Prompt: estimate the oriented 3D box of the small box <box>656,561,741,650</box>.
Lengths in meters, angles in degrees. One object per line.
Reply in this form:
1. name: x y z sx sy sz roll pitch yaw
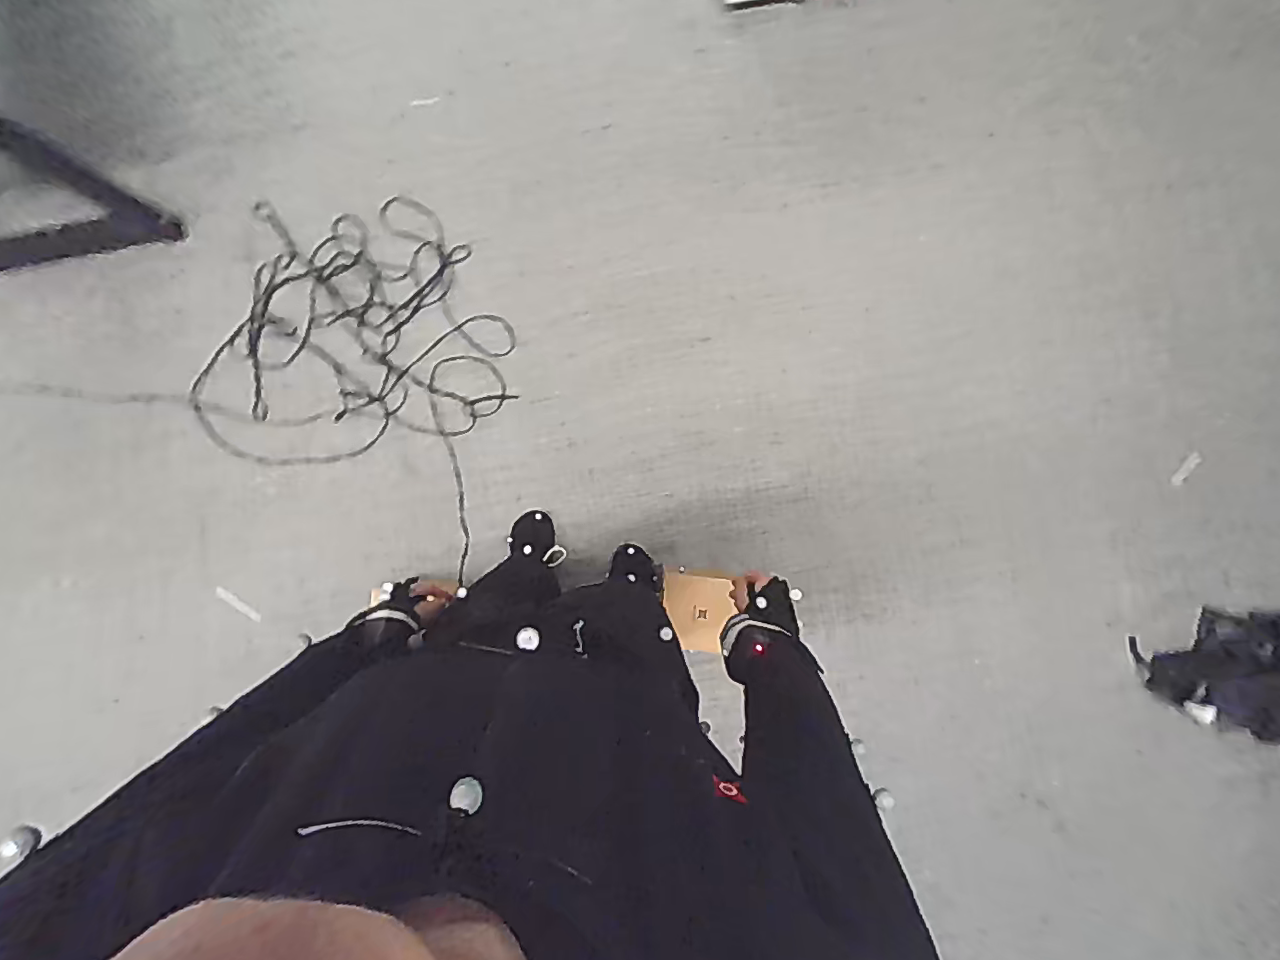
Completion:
1. small box: 0.133 0.291 1.284 0.179 0.176 0.168 5 89 1
